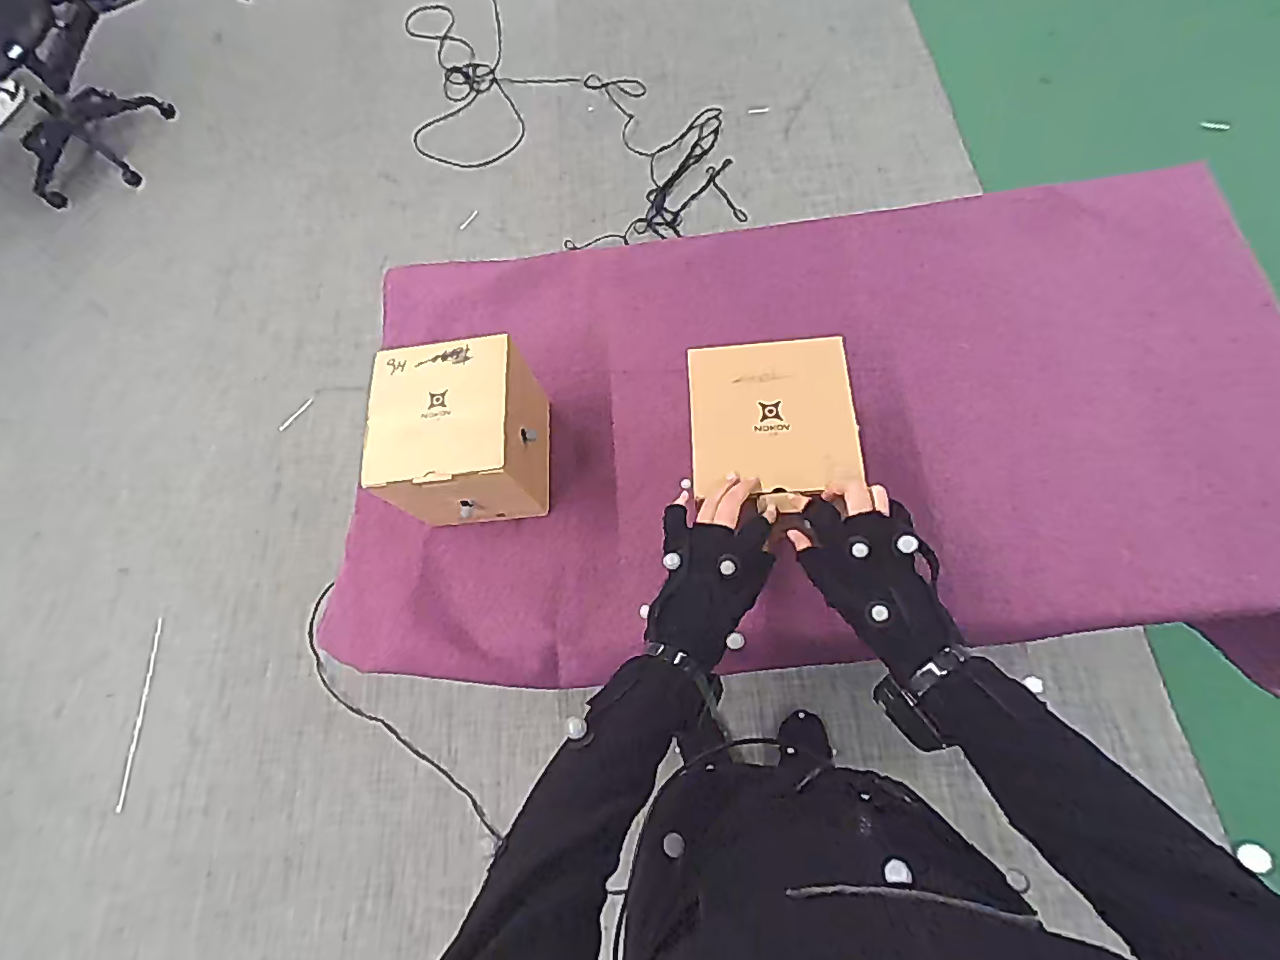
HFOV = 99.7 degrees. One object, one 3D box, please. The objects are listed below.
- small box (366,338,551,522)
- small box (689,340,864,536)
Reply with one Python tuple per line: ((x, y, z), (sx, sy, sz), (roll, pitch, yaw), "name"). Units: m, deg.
((-0.214, -0.050, 0.685), (0.168, 0.176, 0.179), (-6, 69, 6), "small box")
((0.146, -0.036, 0.627), (0.168, 0.176, 0.179), (-3, 69, 7), "small box")
